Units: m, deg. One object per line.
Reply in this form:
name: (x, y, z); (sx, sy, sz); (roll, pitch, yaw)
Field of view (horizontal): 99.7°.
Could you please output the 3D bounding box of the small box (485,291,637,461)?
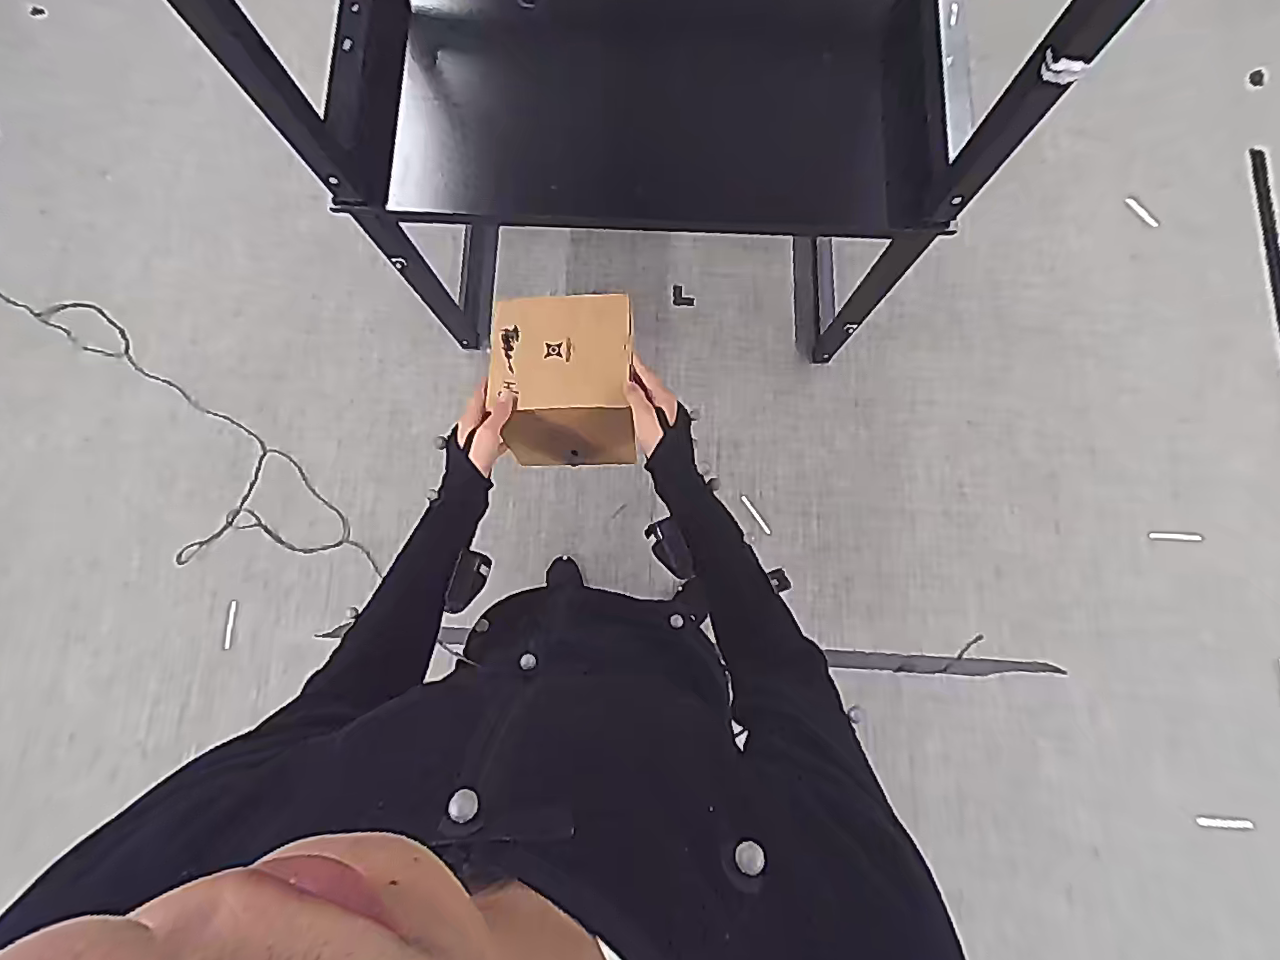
small box: (-0.093, -0.133, 0.734); (0.179, 0.176, 0.168); (0, 68, 2)
